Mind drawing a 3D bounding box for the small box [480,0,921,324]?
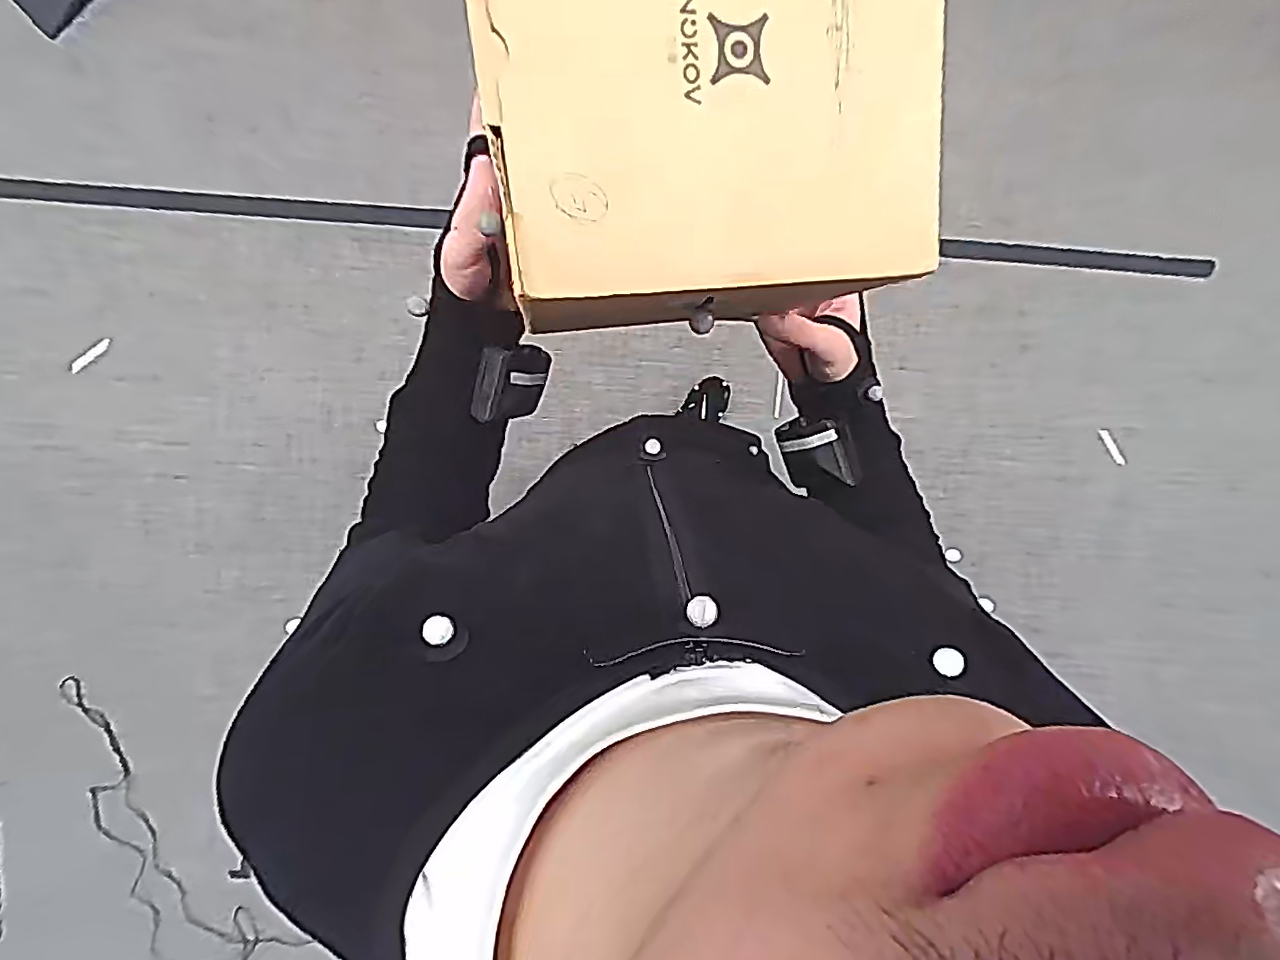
[{"bbox_3d":[0.016,-0.179,0.286,0.179,0.176,0.168,-8,103,-10],"label":"small box"}]
